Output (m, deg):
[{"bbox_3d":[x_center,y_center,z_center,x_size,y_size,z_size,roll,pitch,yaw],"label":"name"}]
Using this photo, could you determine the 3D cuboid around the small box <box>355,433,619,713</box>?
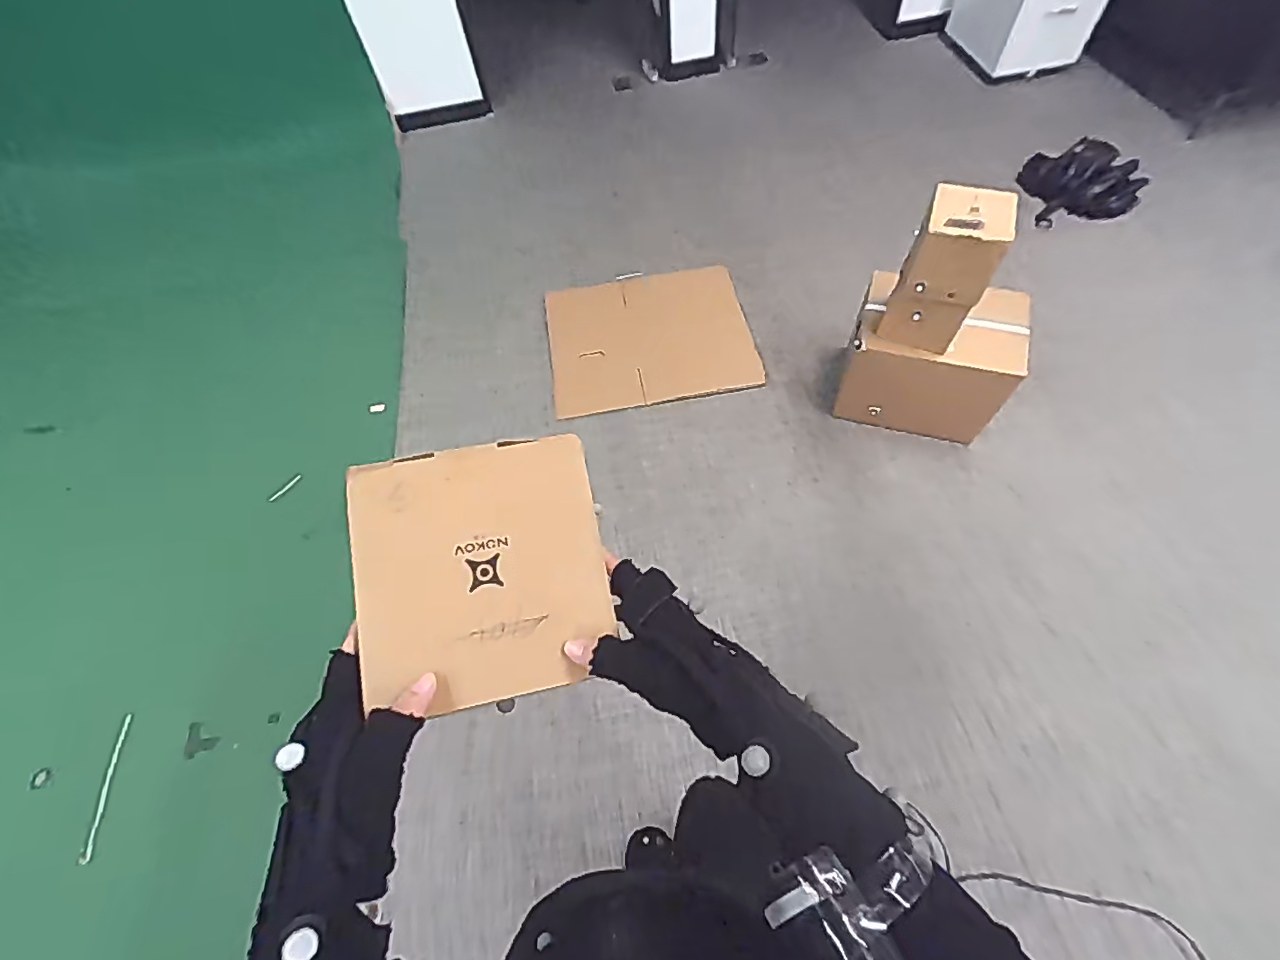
[{"bbox_3d":[-0.121,0.080,0.457,0.168,0.176,0.179,-10,75,-11],"label":"small box"}]

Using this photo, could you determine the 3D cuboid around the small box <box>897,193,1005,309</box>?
[{"bbox_3d":[0.702,-0.518,1.233,0.168,0.176,0.179,13,63,13],"label":"small box"}]

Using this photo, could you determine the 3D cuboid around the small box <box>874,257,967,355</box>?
[{"bbox_3d":[0.722,-0.445,1.382,0.179,0.176,0.168,19,62,15],"label":"small box"}]
